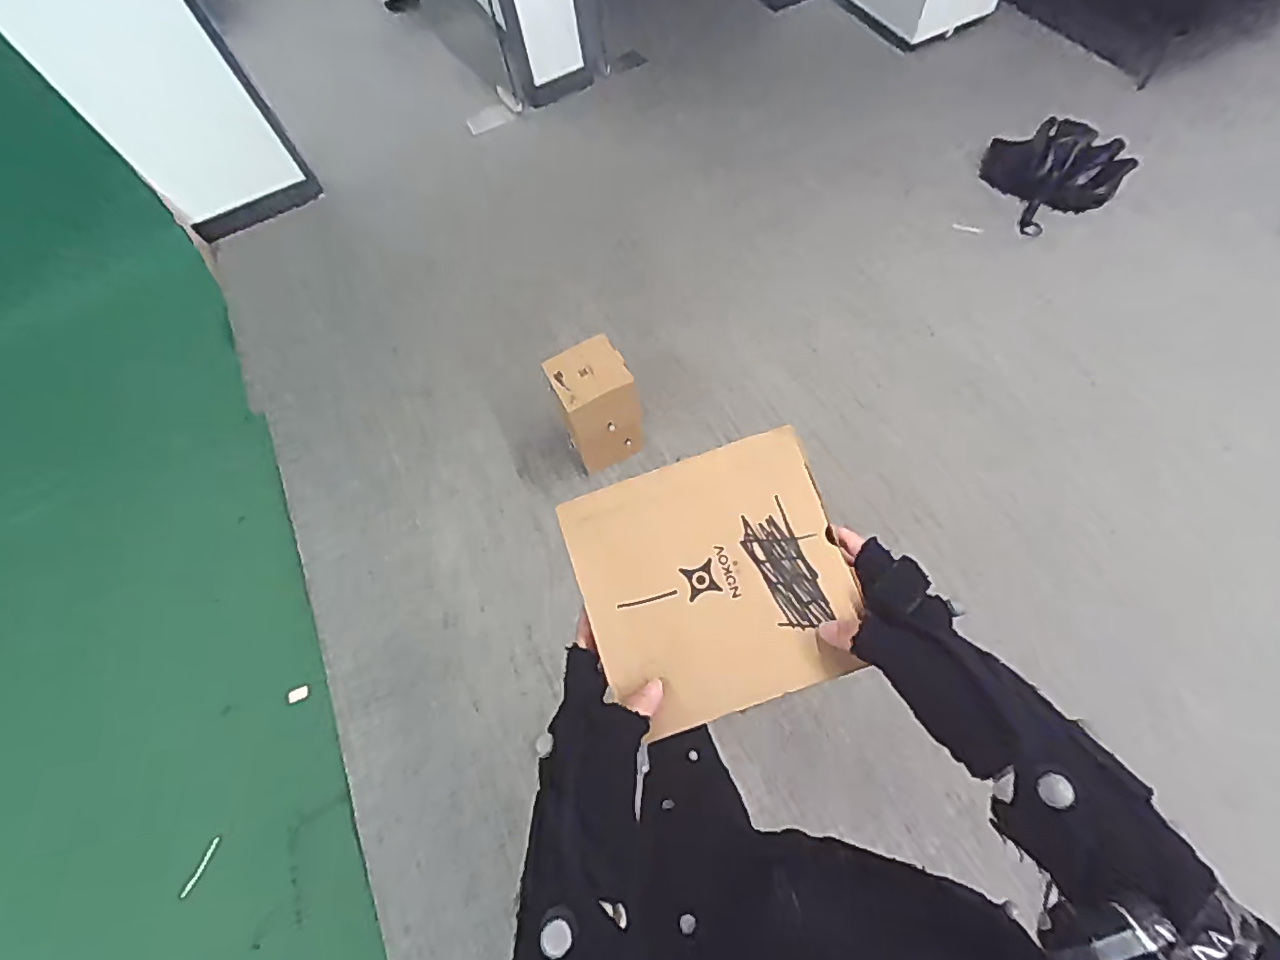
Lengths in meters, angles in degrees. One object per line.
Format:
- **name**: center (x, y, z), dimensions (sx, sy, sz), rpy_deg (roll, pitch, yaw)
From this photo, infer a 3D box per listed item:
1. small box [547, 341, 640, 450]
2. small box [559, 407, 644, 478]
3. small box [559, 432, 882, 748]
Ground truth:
- **small box**: center (-0.108, -0.206, 1.348), dimensions (0.179, 0.176, 0.168), rpy_deg (-27, 64, -7)
- **small box**: center (-0.099, -0.136, 1.496), dimensions (0.179, 0.176, 0.168), rpy_deg (-28, 64, -6)
- **small box**: center (0.053, 0.085, 0.443), dimensions (0.179, 0.176, 0.168), rpy_deg (-22, 77, -2)
